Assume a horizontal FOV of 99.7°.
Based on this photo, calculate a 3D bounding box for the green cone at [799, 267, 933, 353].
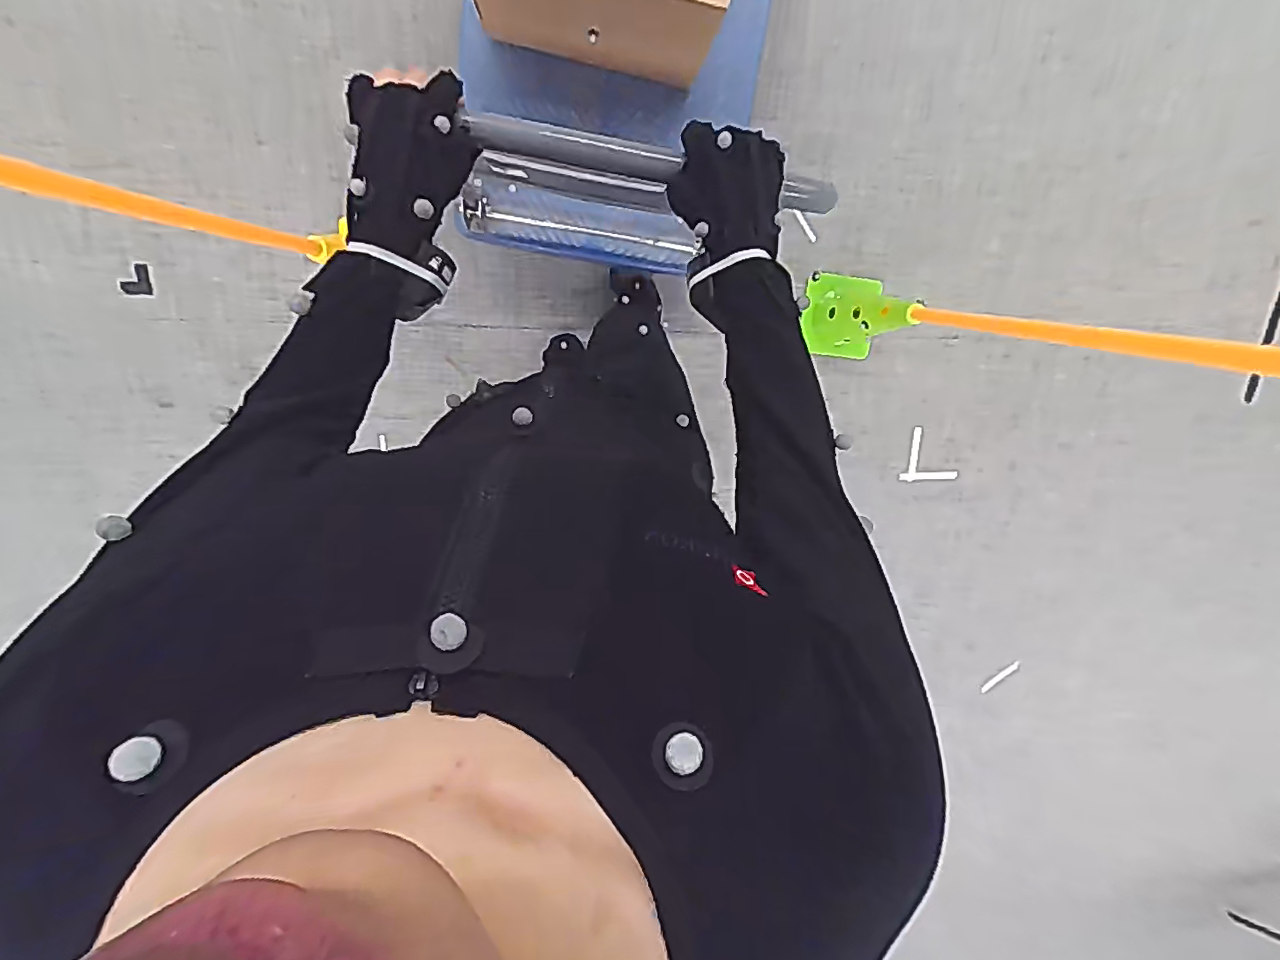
[{"bbox_3d":[0.537,-0.387,1.238,0.202,0.368,0.200,4,107,-7],"label":"green cone"}]

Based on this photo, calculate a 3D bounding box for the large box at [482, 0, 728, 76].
[{"bbox_3d":[-0.048,-0.921,0.871,0.408,0.320,0.320,9,106,-7],"label":"large box"}]
